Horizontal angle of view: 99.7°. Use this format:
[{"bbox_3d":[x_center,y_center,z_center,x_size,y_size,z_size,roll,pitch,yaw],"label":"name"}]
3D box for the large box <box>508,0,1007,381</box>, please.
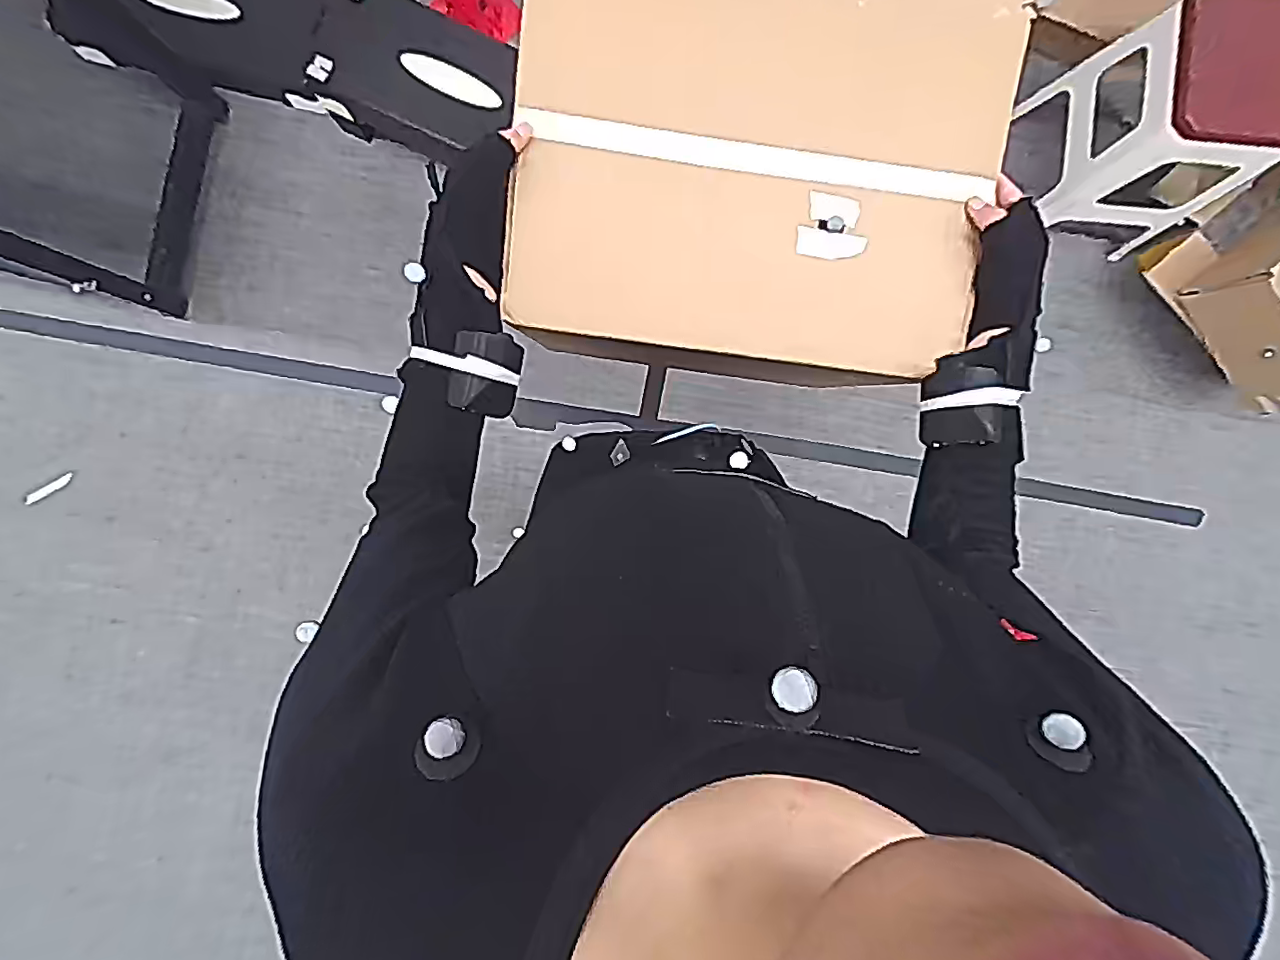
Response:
[{"bbox_3d":[0.087,-0.291,0.608,0.408,0.320,0.320,7,100,-4],"label":"large box"}]
